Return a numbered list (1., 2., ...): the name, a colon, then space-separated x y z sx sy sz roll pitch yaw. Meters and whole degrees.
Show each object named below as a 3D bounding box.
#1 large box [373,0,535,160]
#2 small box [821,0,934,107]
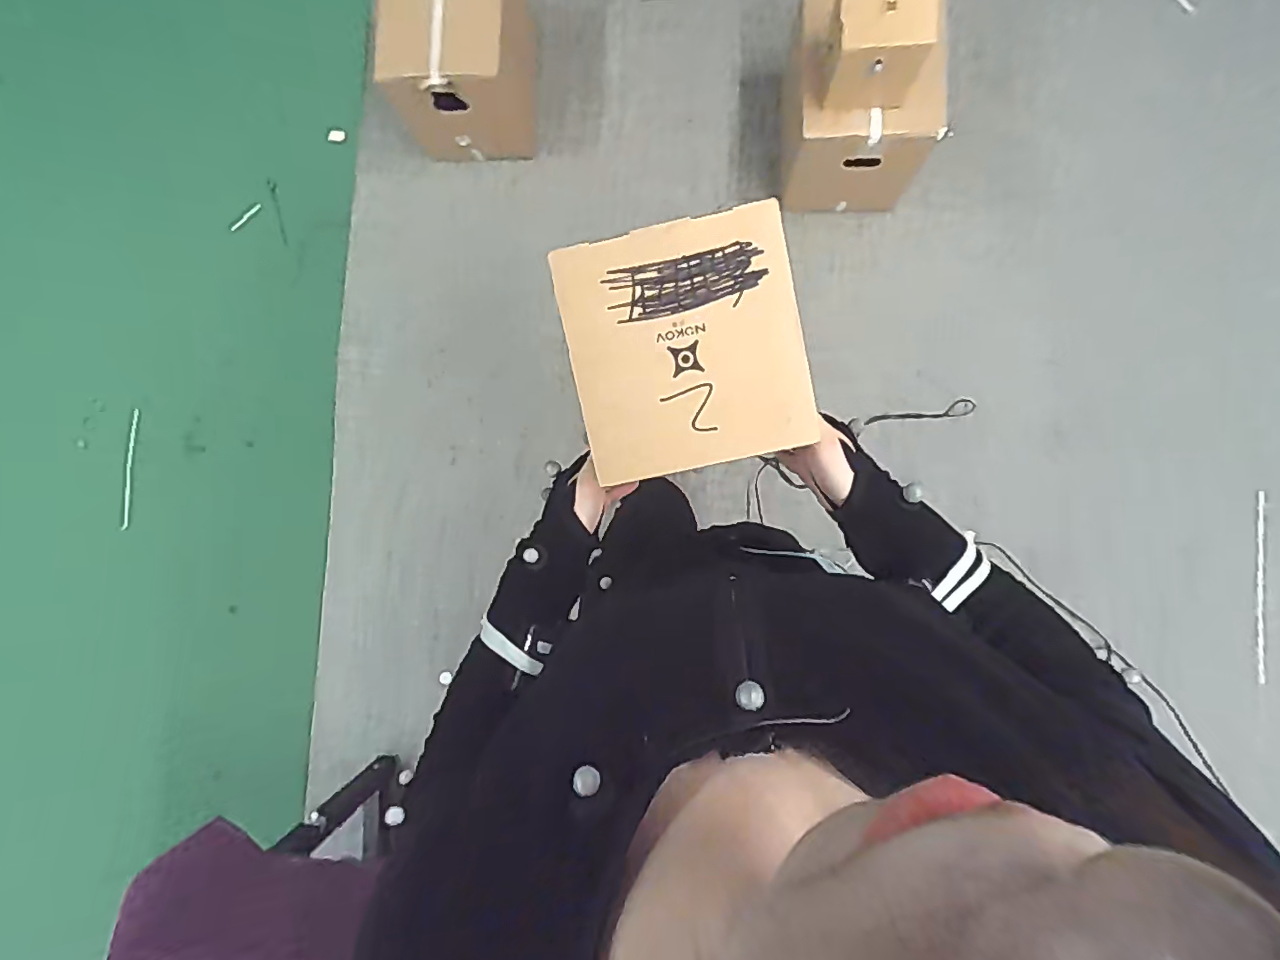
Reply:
1. large box: -0.475 -1.148 1.446 0.320 0.320 0.408 2 87 5
2. small box: 0.482 -0.907 1.114 0.179 0.176 0.168 1 88 8
